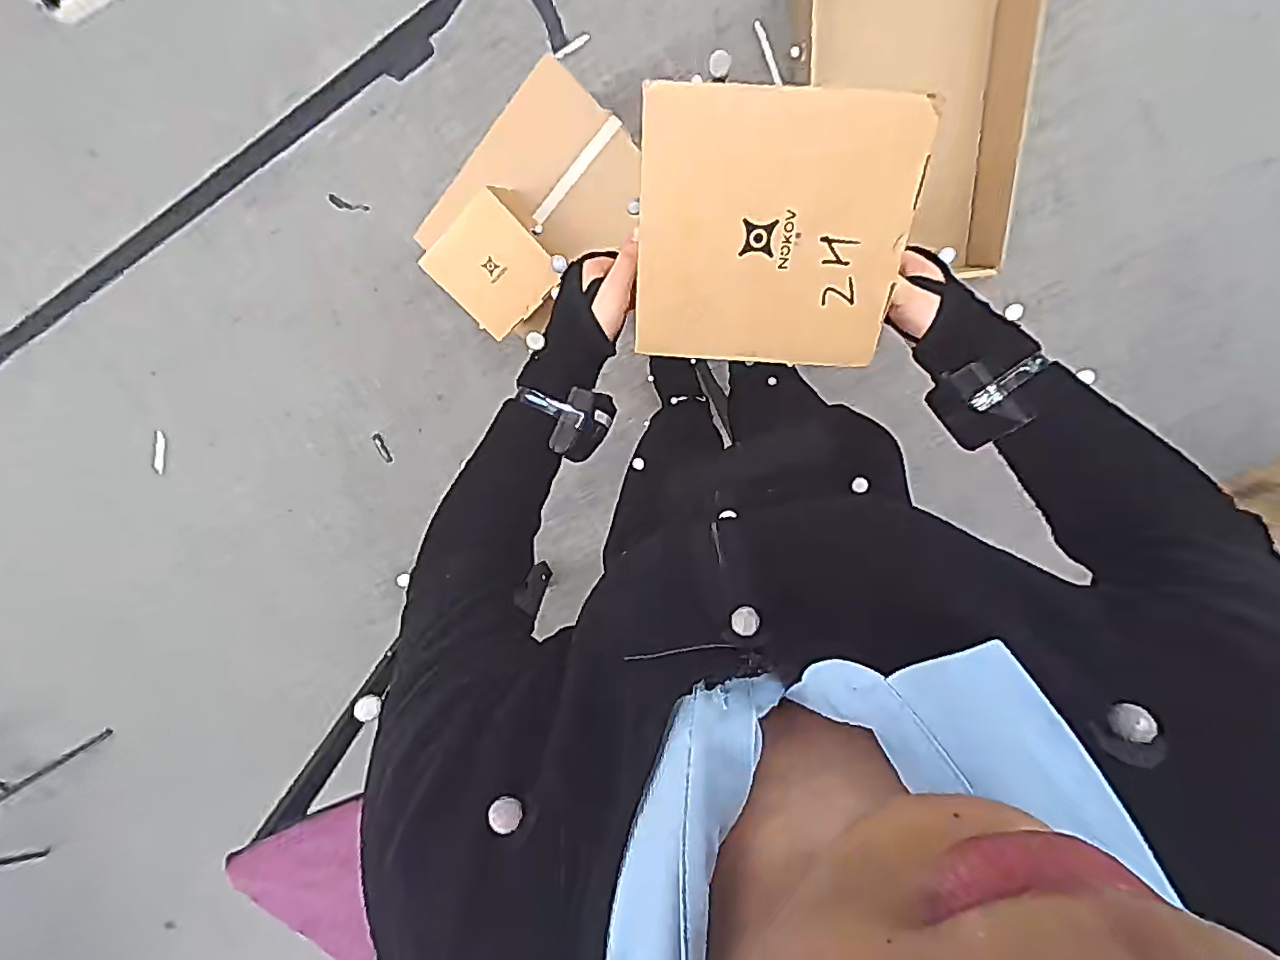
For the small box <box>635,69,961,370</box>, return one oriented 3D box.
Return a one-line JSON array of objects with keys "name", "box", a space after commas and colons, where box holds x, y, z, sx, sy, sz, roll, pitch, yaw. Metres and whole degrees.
[{"name": "small box", "box": [0.093, -0.198, 0.411, 0.179, 0.176, 0.168, 4, 124, 2]}]
